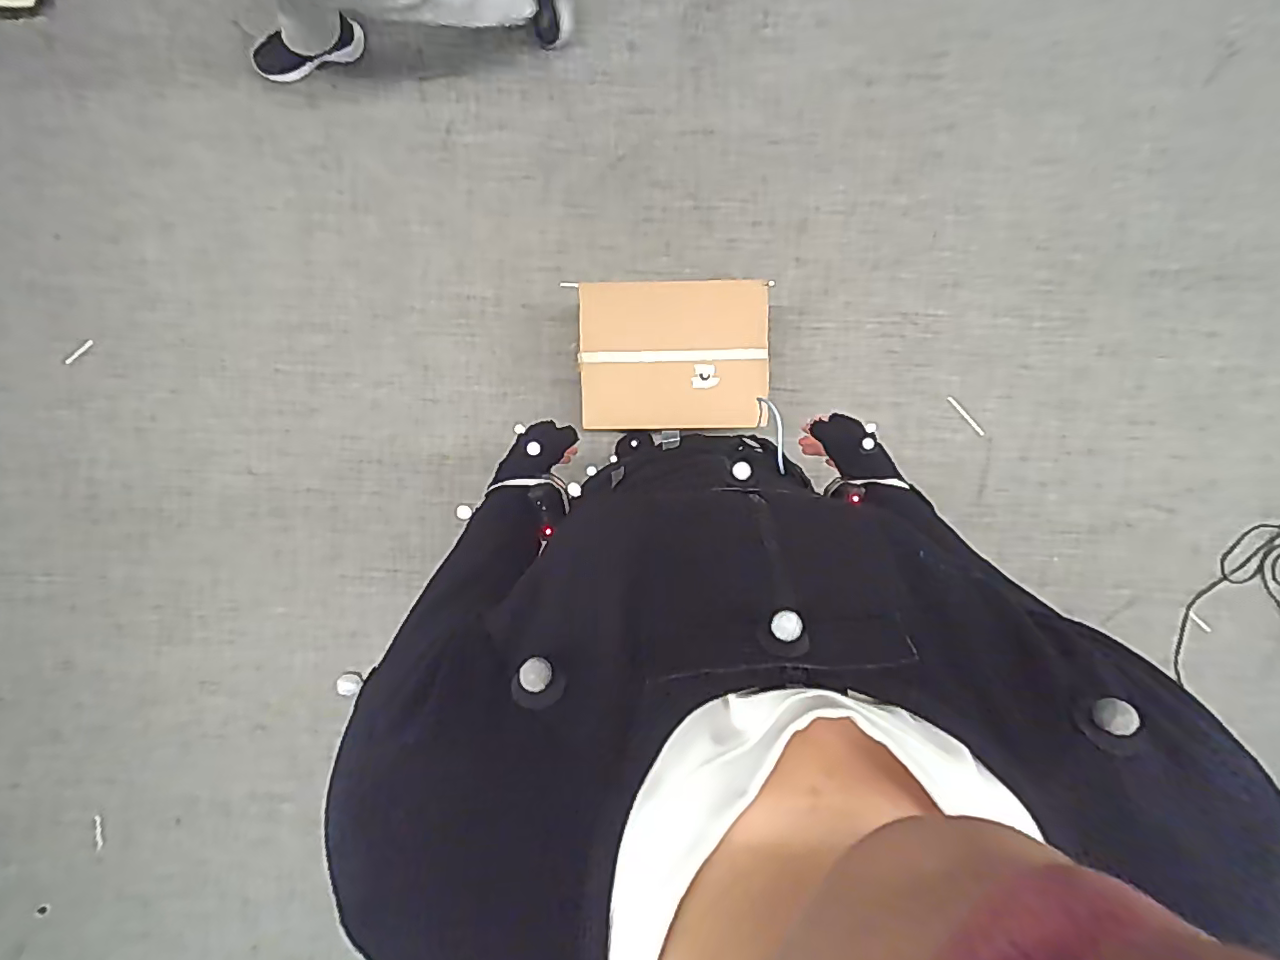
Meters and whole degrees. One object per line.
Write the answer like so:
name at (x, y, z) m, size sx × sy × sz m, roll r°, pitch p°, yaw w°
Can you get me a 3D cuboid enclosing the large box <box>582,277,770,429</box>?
large box at (0.081, -0.284, 1.305) m, size 0.408 × 0.320 × 0.320 m, roll -1°, pitch 96°, yaw 1°
